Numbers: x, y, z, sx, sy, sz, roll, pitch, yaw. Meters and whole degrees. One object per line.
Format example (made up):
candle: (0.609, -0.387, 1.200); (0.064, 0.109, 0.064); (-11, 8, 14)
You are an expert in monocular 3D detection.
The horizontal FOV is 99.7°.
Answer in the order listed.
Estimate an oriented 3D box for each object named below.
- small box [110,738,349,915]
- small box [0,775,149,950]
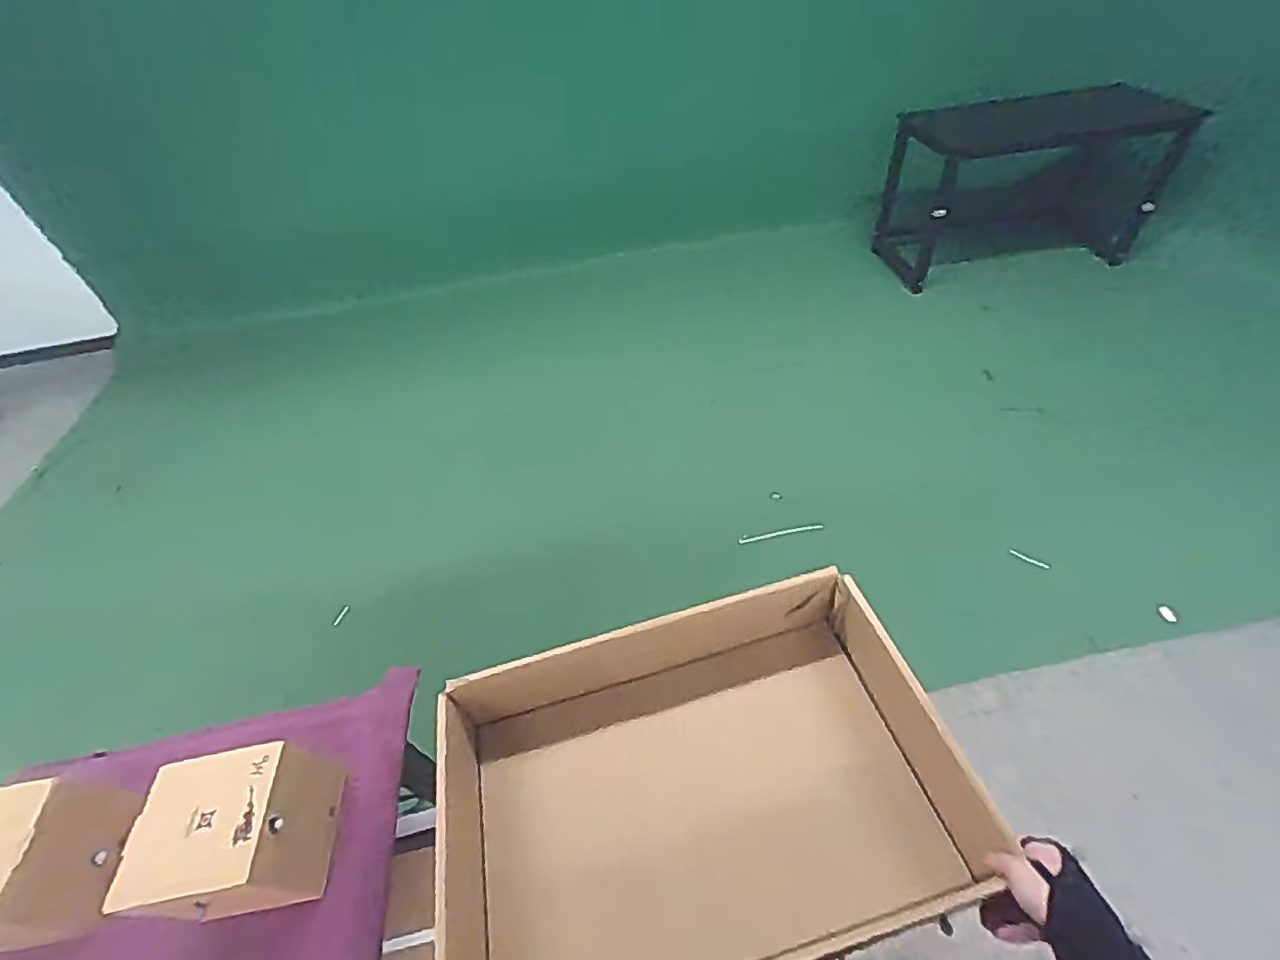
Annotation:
small box: (-0.547, 0.485, 0.753); (0.179, 0.176, 0.168); (-12, 49, 0)
small box: (-0.857, 0.533, 0.747); (0.179, 0.176, 0.168); (-10, 49, -3)
